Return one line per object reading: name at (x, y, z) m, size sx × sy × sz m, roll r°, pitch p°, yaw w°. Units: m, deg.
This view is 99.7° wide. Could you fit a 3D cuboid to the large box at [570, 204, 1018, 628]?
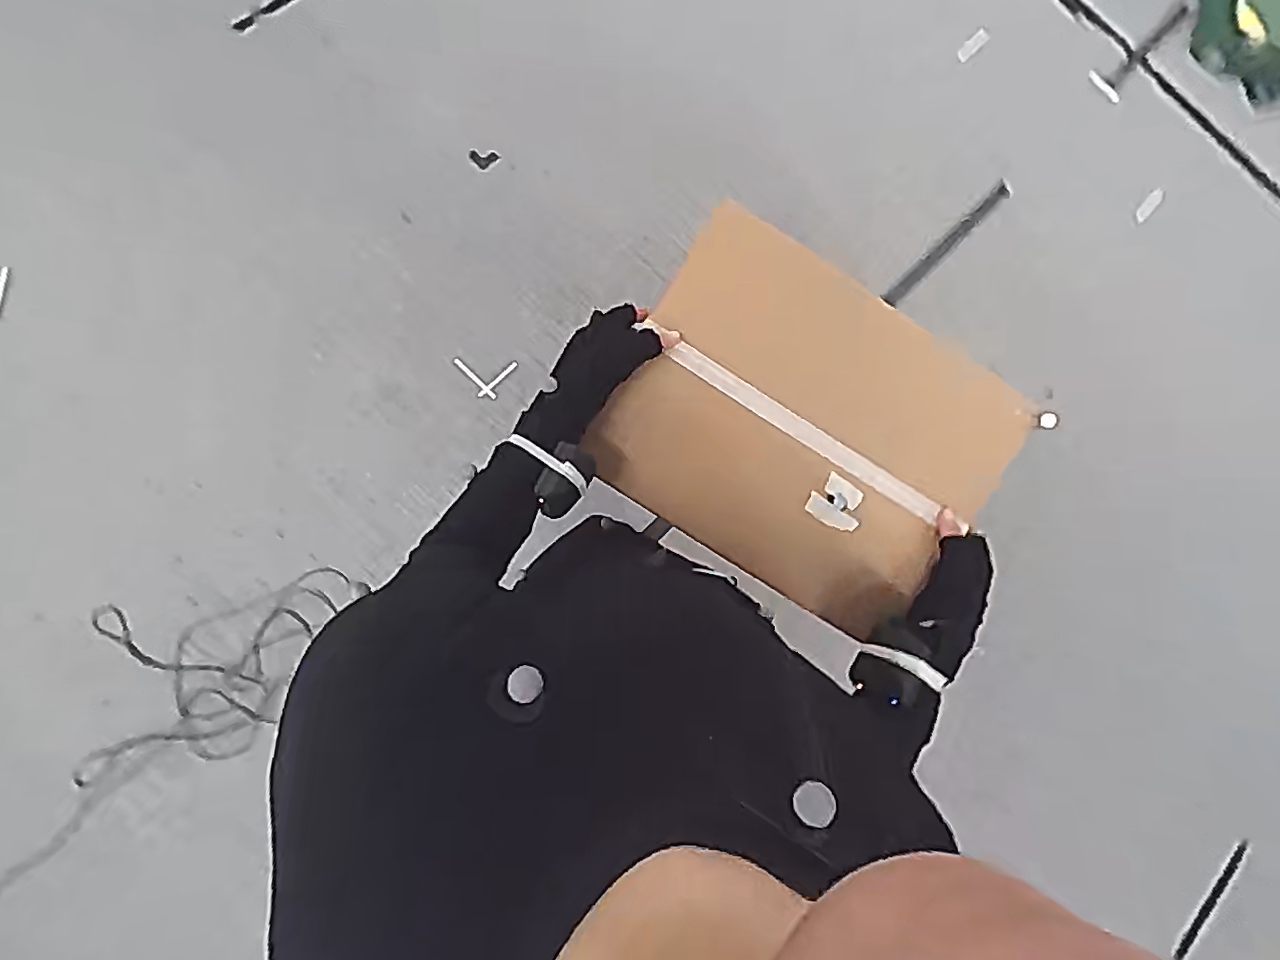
large box at (0.162, -0.074, 0.733) m, size 0.408 × 0.320 × 0.320 m, roll 33°, pitch 94°, yaw -4°
